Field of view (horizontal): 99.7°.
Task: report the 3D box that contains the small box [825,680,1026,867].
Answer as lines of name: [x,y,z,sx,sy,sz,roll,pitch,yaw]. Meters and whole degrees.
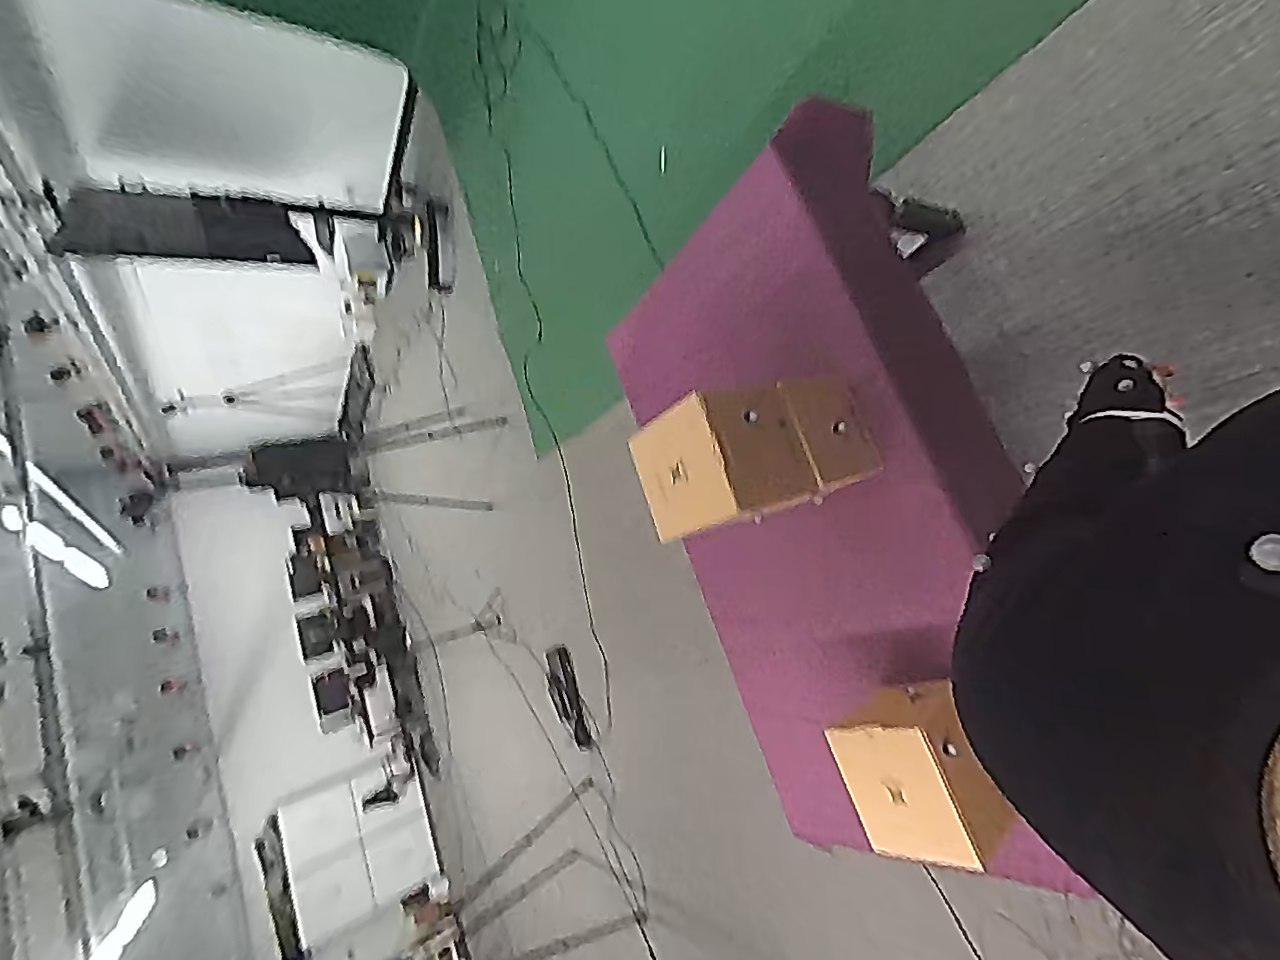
small box: [0.415,0.414,0.789,0.168,0.176,0.179,-39,67,51]

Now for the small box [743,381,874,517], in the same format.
small box: [0.254,-0.053,0.887,0.179,0.176,0.168,-33,71,52]

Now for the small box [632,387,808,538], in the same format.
small box: [0.121,-0.027,0.795,0.179,0.176,0.168,-30,74,53]
